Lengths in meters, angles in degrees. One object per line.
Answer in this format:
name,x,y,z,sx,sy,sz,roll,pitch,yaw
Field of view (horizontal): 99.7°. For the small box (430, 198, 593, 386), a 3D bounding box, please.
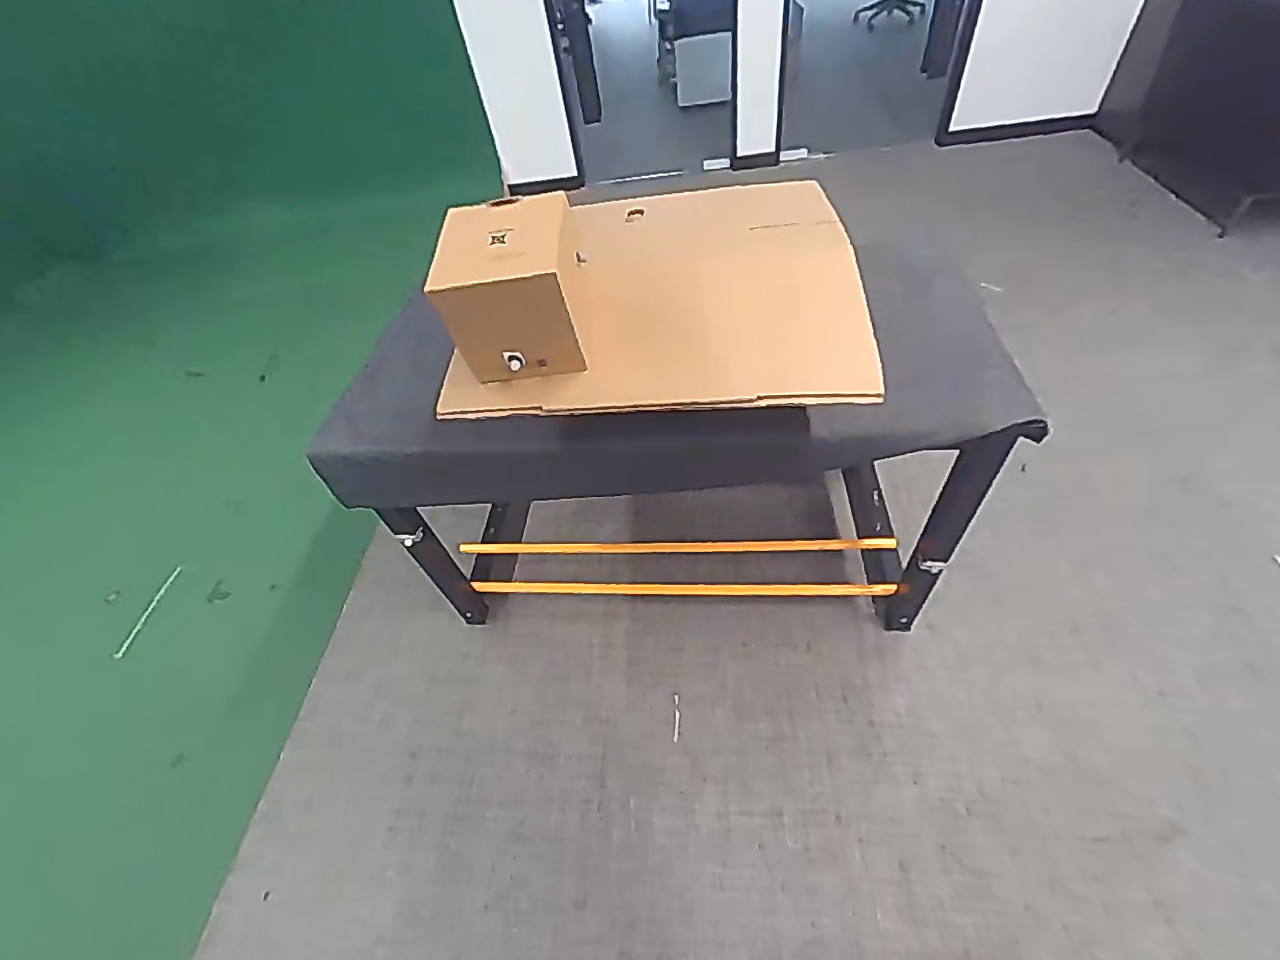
small box,-0.165,-0.257,0.758,0.168,0.176,0.179,-7,57,6
